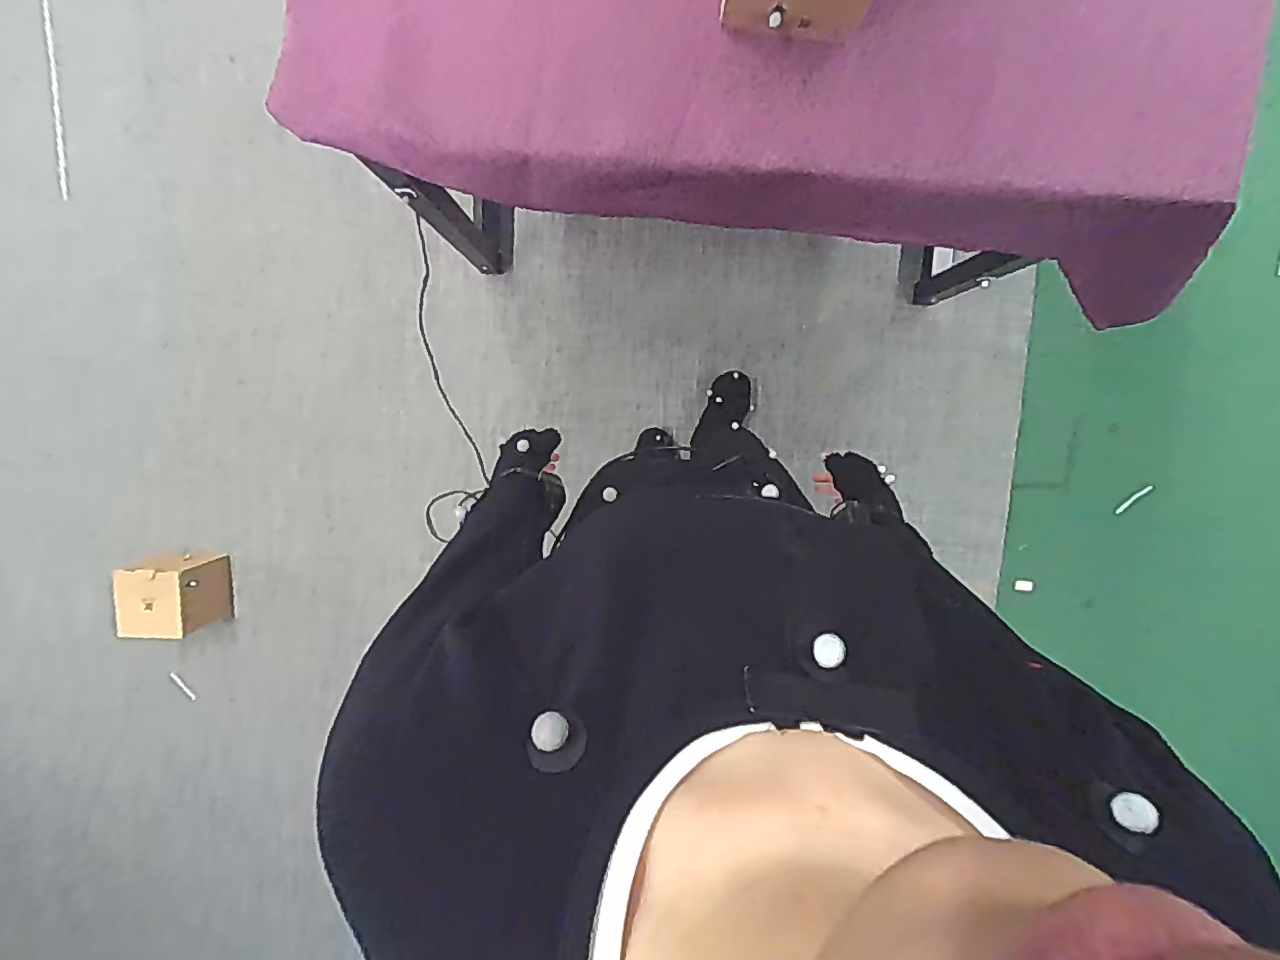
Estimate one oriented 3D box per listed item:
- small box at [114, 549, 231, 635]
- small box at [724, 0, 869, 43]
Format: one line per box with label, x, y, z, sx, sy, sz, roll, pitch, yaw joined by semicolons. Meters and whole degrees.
small box;-1.217;0.290;1.420;0.168;0.176;0.179;2;96;0
small box;0.192;-0.637;0.591;0.168;0.176;0.179;7;97;0
